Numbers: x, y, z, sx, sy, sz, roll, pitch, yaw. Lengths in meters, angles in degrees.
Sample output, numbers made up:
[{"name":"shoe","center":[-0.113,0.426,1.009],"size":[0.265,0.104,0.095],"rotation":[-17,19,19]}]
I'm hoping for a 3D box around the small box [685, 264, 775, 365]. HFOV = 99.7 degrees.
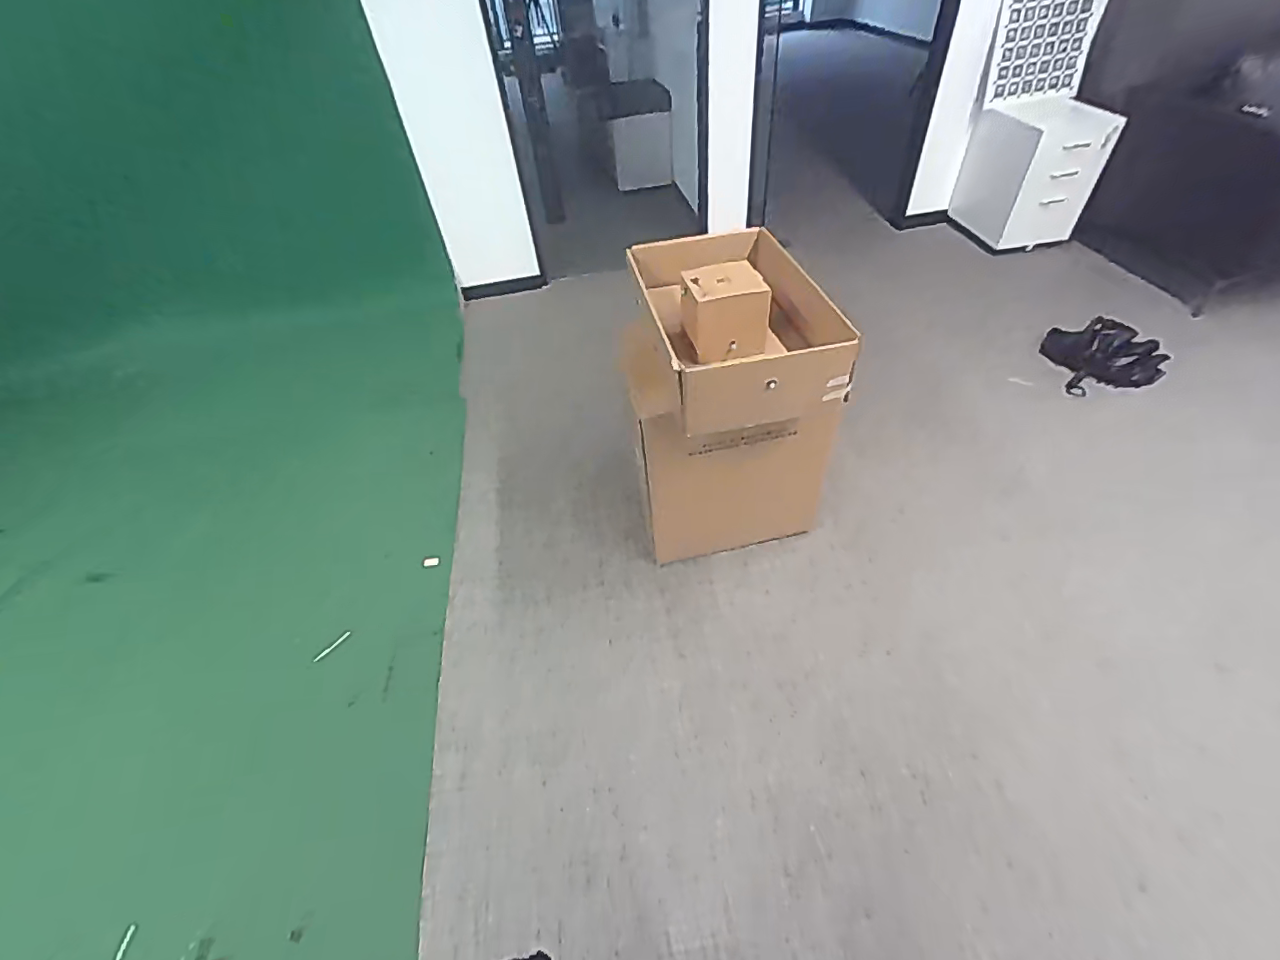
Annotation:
[{"name":"small box","center":[0.213,-0.406,1.330],"size":[0.179,0.176,0.168],"rotation":[-11,45,-6]}]
